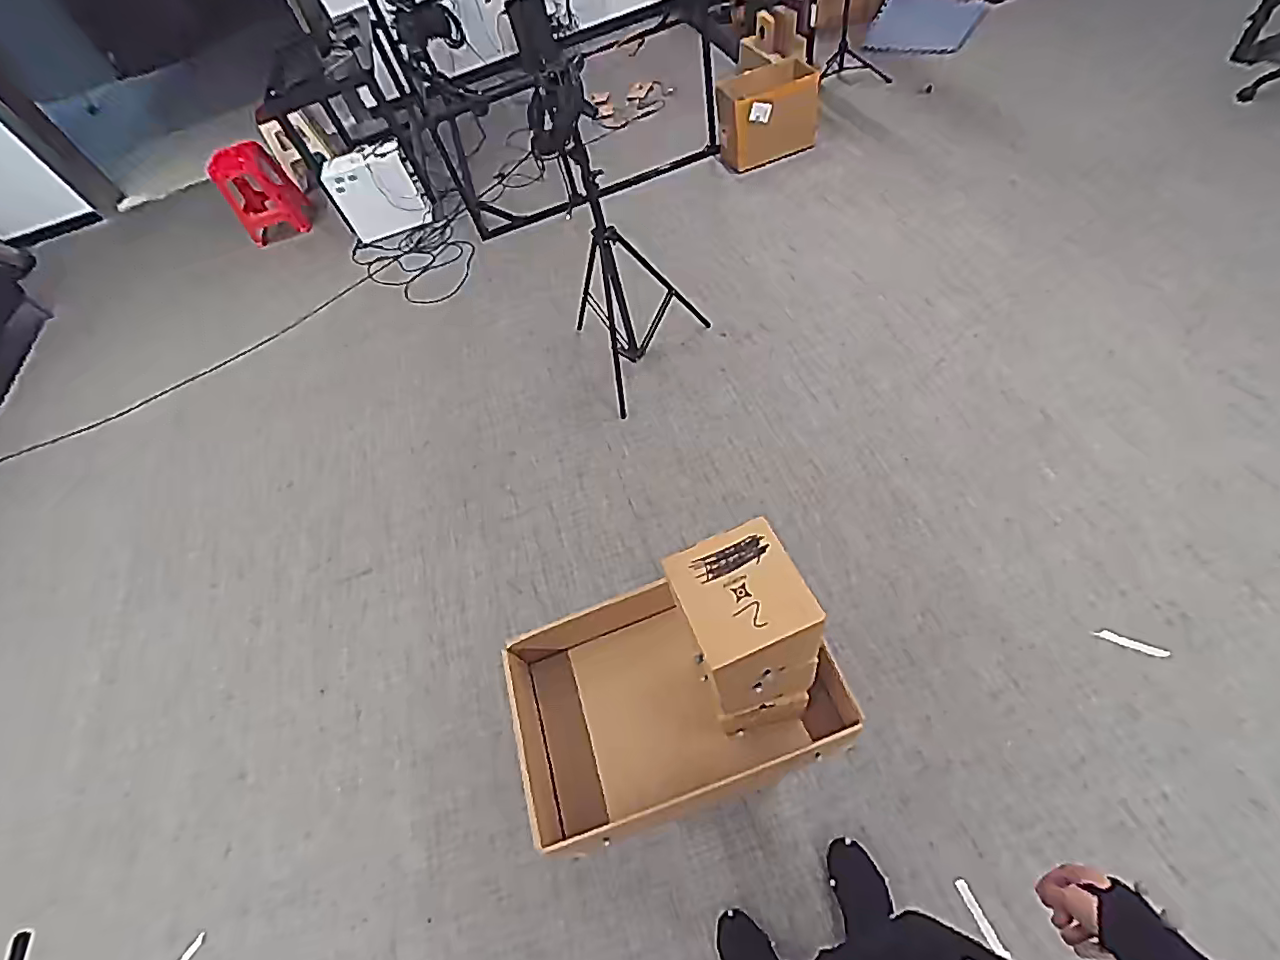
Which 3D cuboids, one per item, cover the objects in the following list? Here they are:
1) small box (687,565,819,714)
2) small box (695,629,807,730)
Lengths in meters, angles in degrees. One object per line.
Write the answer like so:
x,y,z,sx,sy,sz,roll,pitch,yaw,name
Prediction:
0.190,0.280,0.936,0.168,0.176,0.179,-19,54,1,small box
0.216,0.379,1.064,0.168,0.176,0.179,-15,54,2,small box
